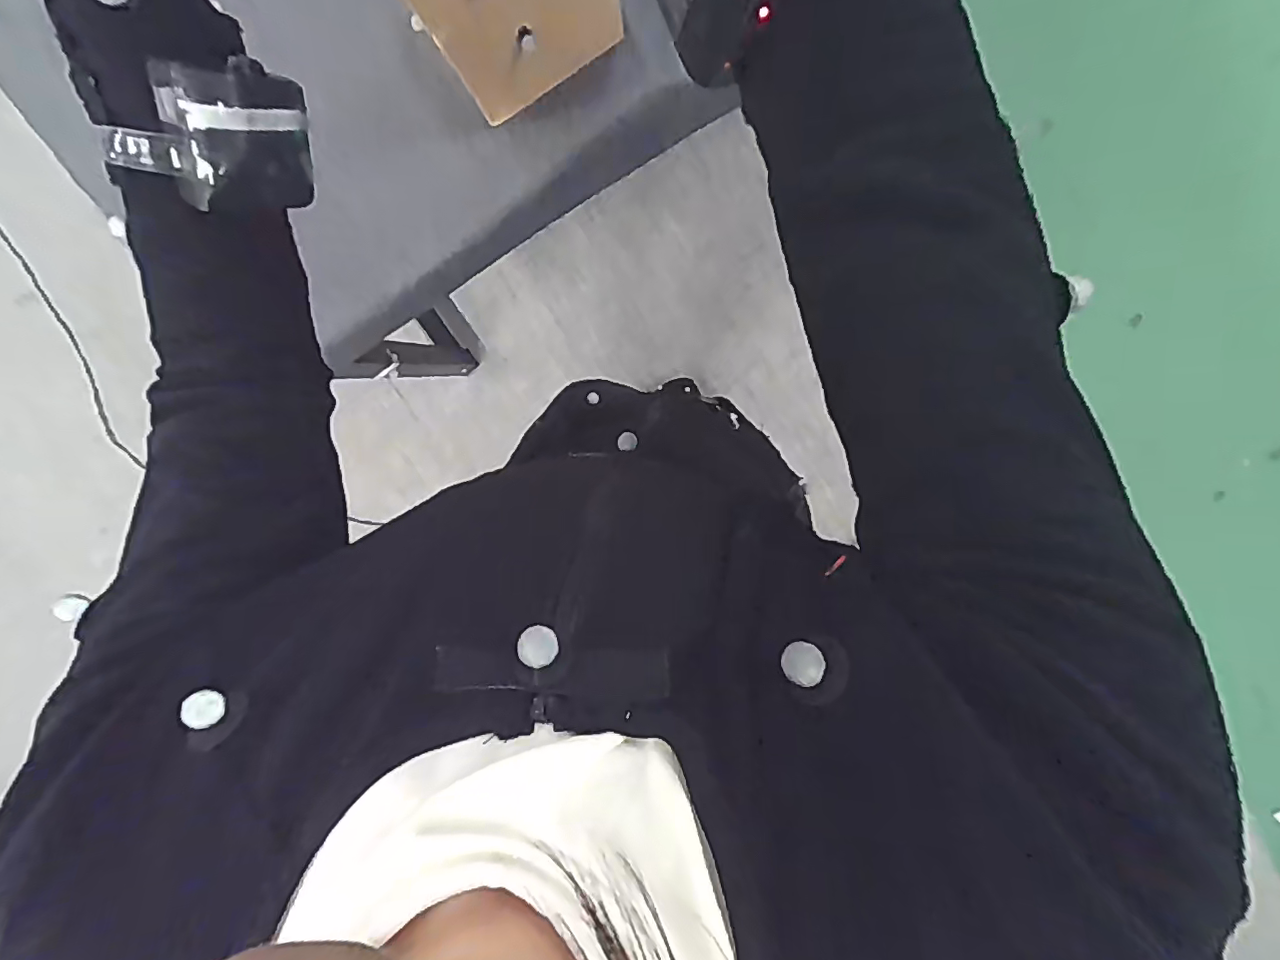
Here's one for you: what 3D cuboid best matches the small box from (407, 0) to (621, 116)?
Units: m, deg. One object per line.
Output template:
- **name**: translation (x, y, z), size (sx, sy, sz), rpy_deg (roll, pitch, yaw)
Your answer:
- **small box**: translation (-0.136, -0.497, 0.511), size (0.179, 0.176, 0.168), rpy_deg (-29, 98, 9)
